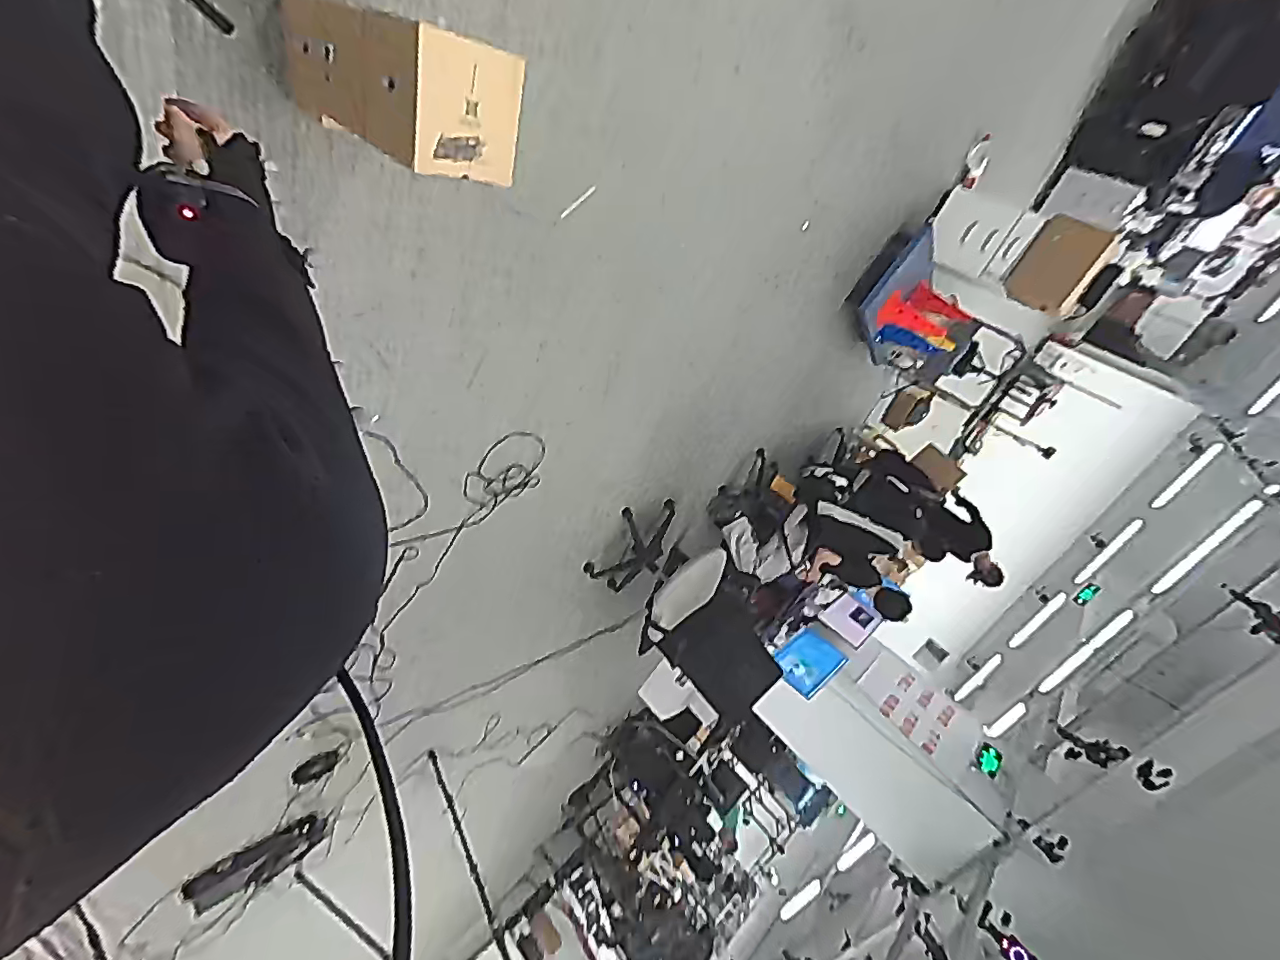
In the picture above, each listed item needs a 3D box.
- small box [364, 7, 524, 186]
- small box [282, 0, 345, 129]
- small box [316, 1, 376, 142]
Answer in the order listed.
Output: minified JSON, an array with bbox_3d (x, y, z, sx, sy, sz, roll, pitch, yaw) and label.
[{"bbox_3d":[-0.304,-0.578,0.825,0.168,0.176,0.179,-19,137,-43],"label":"small box"},{"bbox_3d":[-0.530,-0.751,0.987,0.168,0.176,0.179,-19,138,-43],"label":"small box"},{"bbox_3d":[-0.414,-0.669,0.907,0.179,0.176,0.168,-19,138,-42],"label":"small box"}]
